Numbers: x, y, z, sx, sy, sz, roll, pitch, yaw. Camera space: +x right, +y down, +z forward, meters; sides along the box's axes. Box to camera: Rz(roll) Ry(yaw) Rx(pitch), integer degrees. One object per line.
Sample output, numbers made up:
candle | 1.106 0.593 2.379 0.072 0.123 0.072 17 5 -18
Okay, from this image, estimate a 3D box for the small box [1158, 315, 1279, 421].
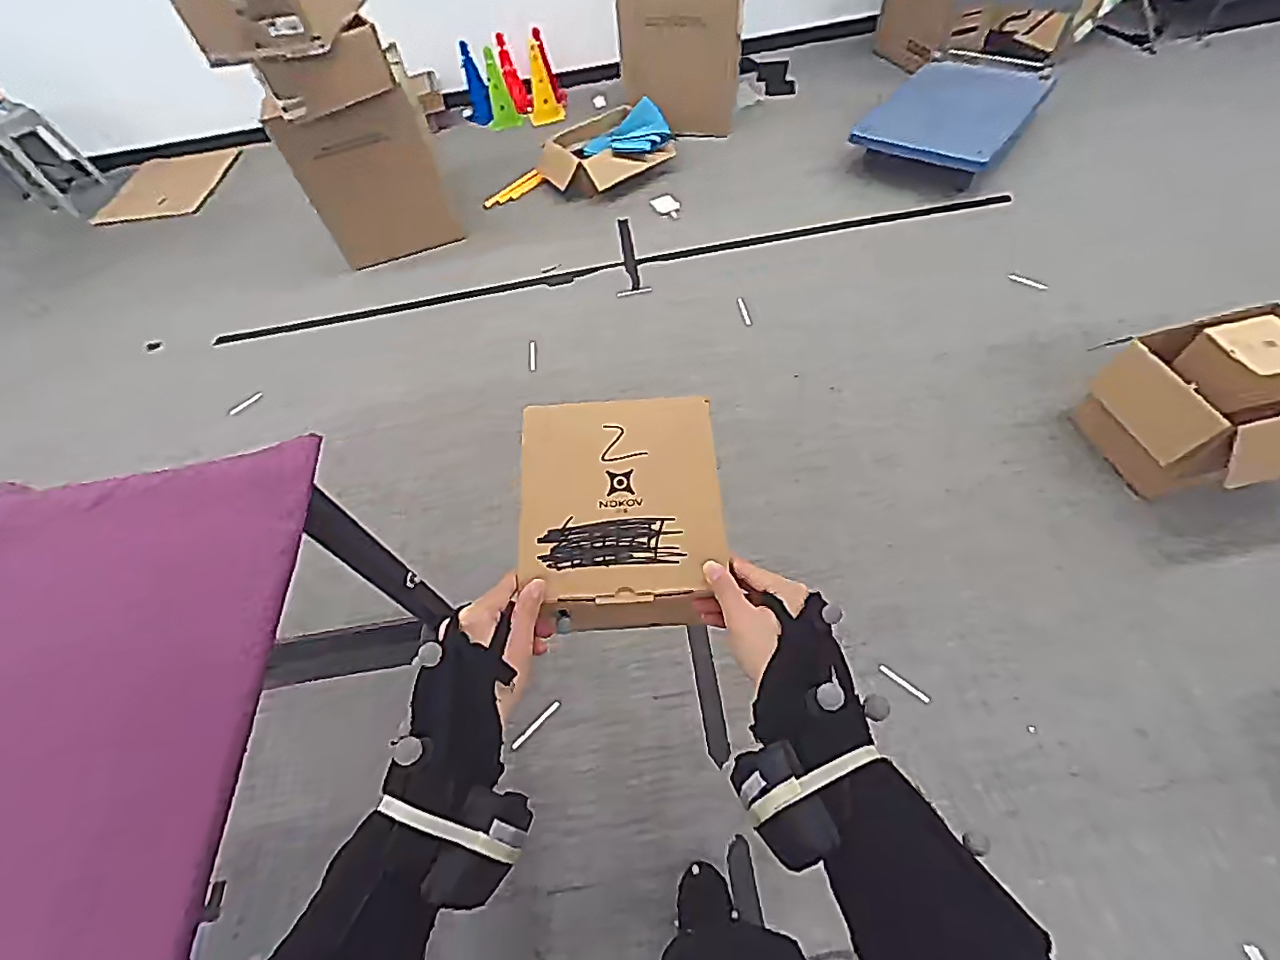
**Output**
small box | 1.452 -0.270 1.324 0.179 0.176 0.168 -13 54 -1
